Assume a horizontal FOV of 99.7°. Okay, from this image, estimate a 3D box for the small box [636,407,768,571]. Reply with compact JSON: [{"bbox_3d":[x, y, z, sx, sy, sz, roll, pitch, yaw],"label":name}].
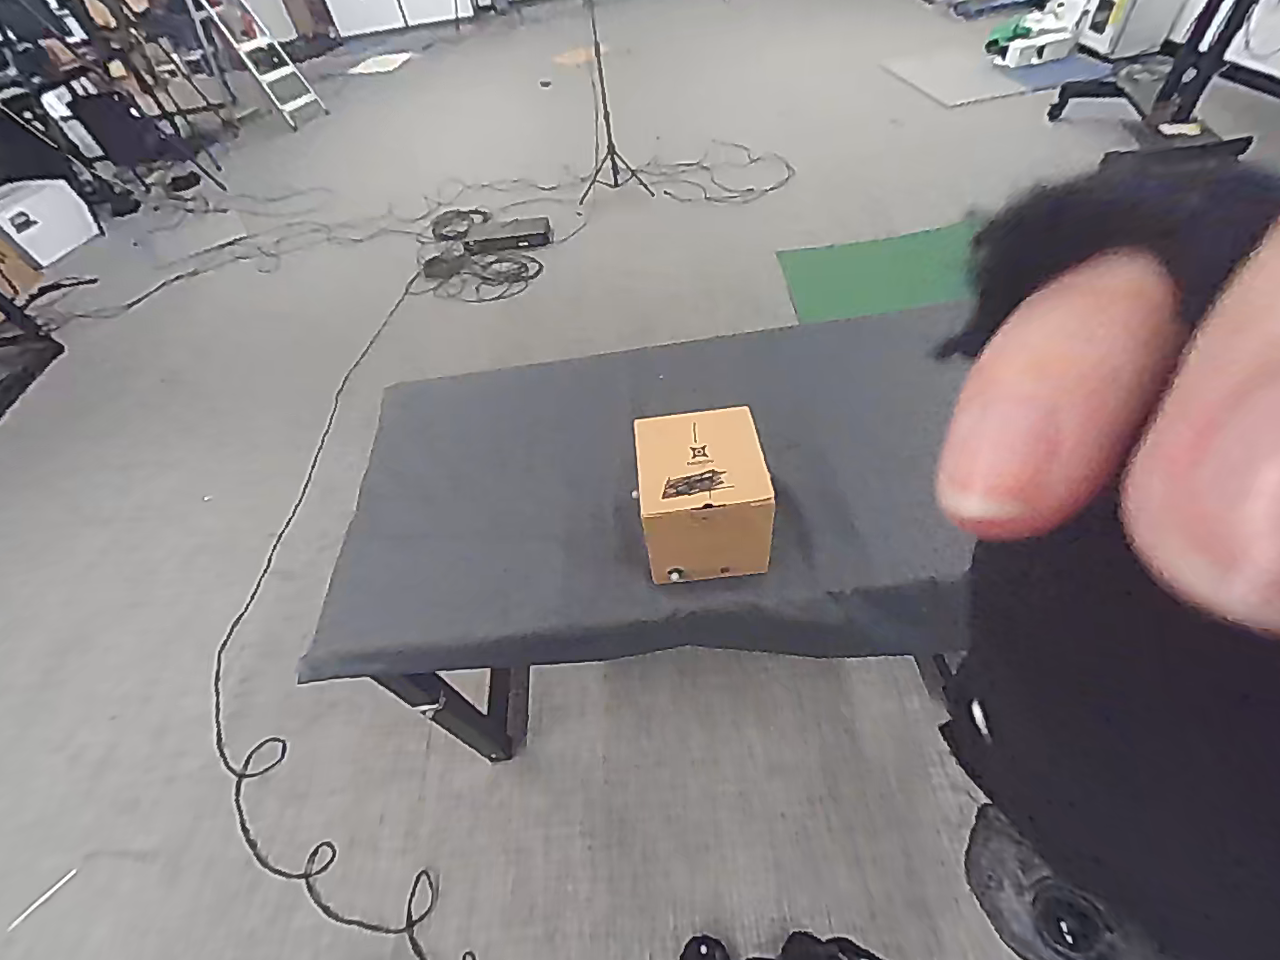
[{"bbox_3d":[0.087,0.021,0.790,0.168,0.176,0.179,-6,48,3],"label":"small box"}]
